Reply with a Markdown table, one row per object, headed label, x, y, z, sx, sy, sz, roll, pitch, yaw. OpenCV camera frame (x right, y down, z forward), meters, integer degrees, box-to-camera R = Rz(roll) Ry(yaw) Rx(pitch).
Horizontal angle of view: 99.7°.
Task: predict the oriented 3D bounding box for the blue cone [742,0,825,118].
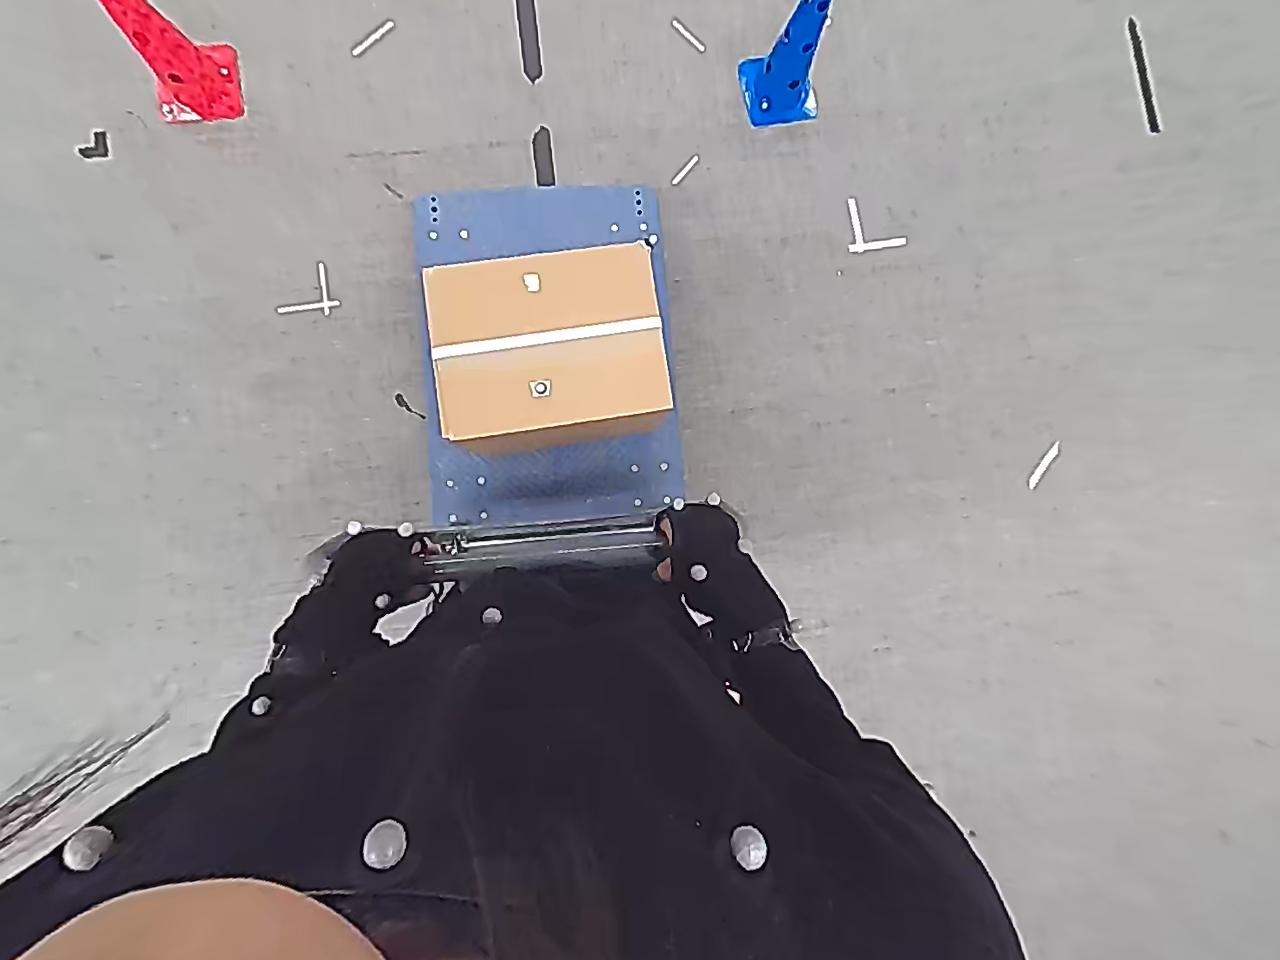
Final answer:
| label | x | y | z | sx | sy | sz | roll | pitch | yaw |
| --- | --- | --- | --- | --- | --- | --- | --- | --- | --- |
| blue cone | 0.409 | -1.132 | 1.370 | 0.193 | 0.380 | 0.192 | -11 | 87 | -6 |
